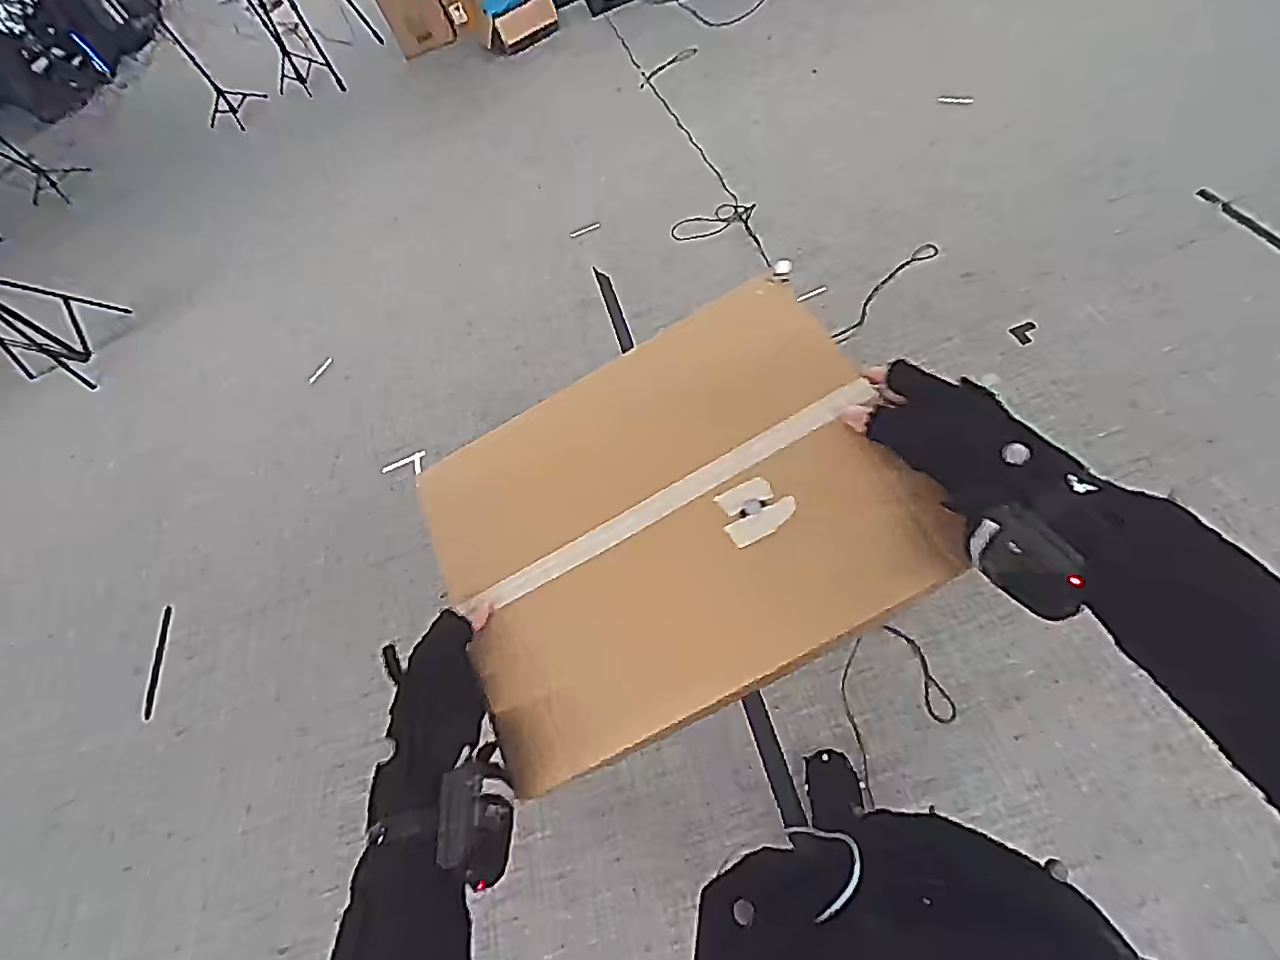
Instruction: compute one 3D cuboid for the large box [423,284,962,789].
[{"bbox_3d":[0.048,0.077,0.616,0.408,0.320,0.320,-31,66,2],"label":"large box"}]
